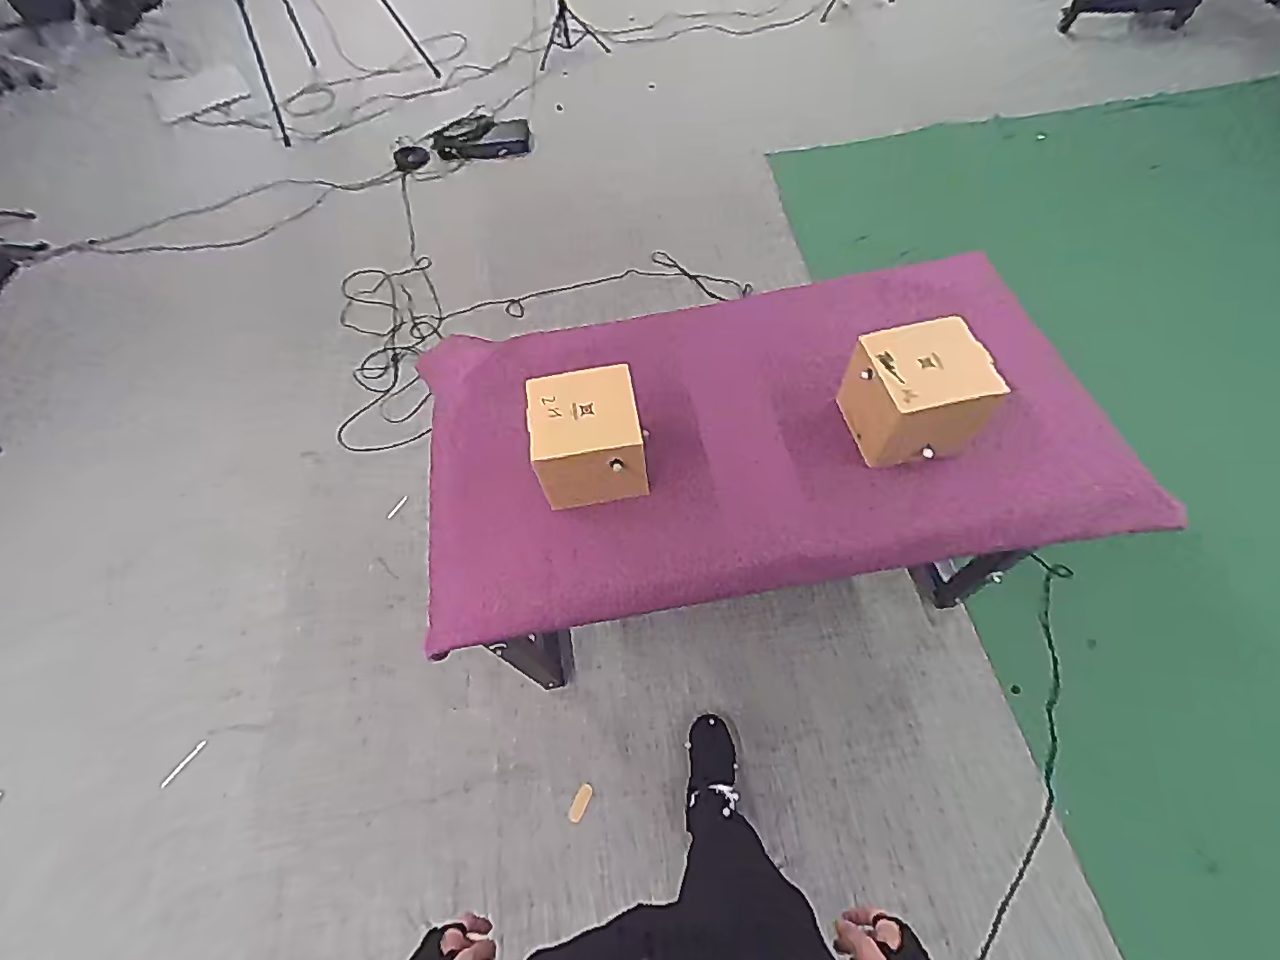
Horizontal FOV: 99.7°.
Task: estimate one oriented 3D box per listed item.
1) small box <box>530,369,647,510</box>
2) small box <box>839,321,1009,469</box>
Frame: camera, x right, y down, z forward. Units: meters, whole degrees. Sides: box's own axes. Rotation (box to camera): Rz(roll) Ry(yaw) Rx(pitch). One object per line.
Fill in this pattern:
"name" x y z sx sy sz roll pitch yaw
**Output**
"small box" -0.083 -0.065 0.933 0.179 0.176 0.168 -10 59 0
"small box" 0.466 -0.139 0.920 0.179 0.176 0.168 -11 59 -1
